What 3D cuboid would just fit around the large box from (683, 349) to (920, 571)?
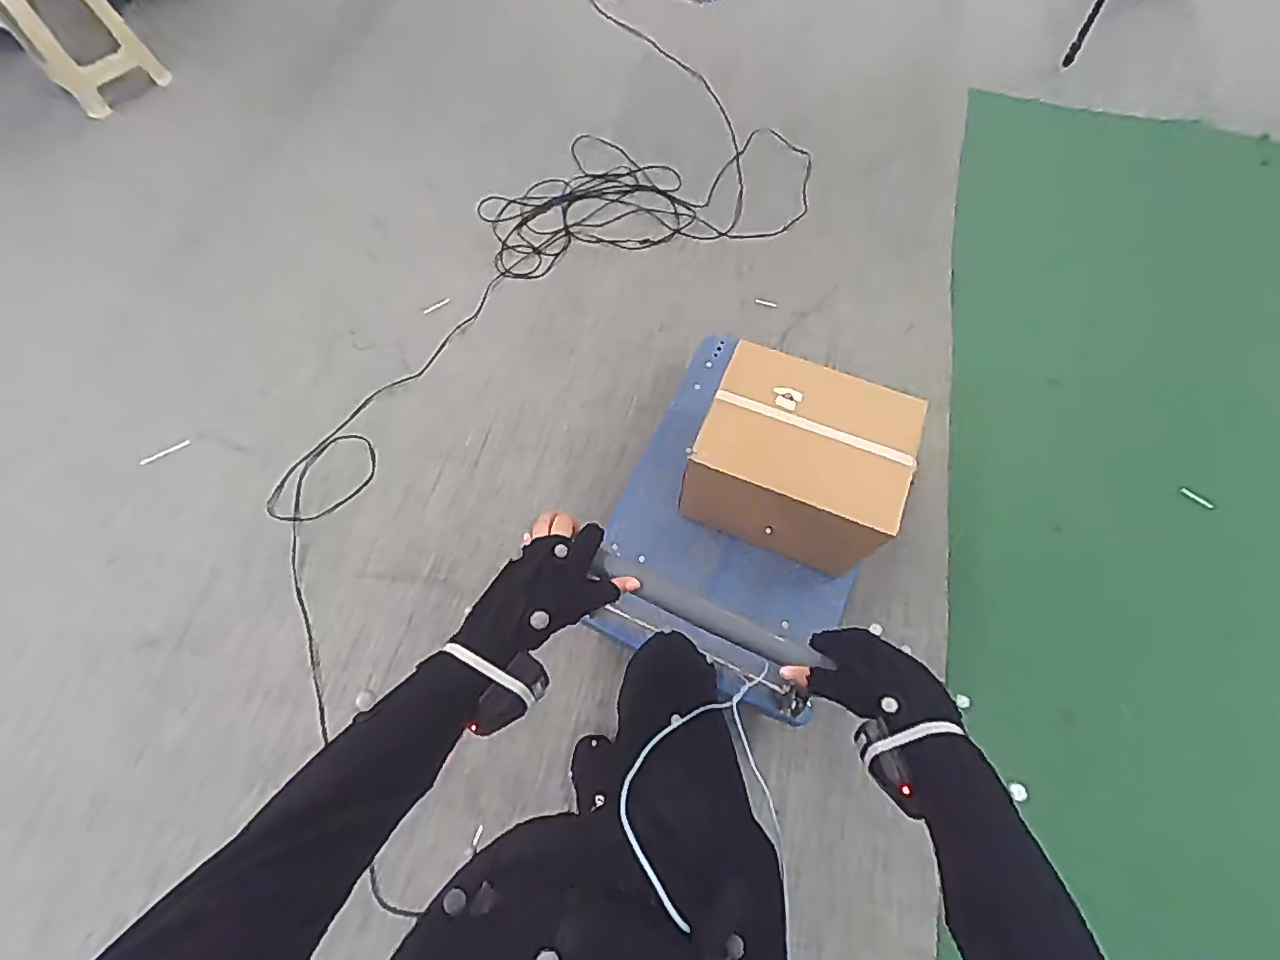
[{"bbox_3d":[0.339,-0.033,1.215,0.408,0.320,0.320,20,67,10],"label":"large box"}]
